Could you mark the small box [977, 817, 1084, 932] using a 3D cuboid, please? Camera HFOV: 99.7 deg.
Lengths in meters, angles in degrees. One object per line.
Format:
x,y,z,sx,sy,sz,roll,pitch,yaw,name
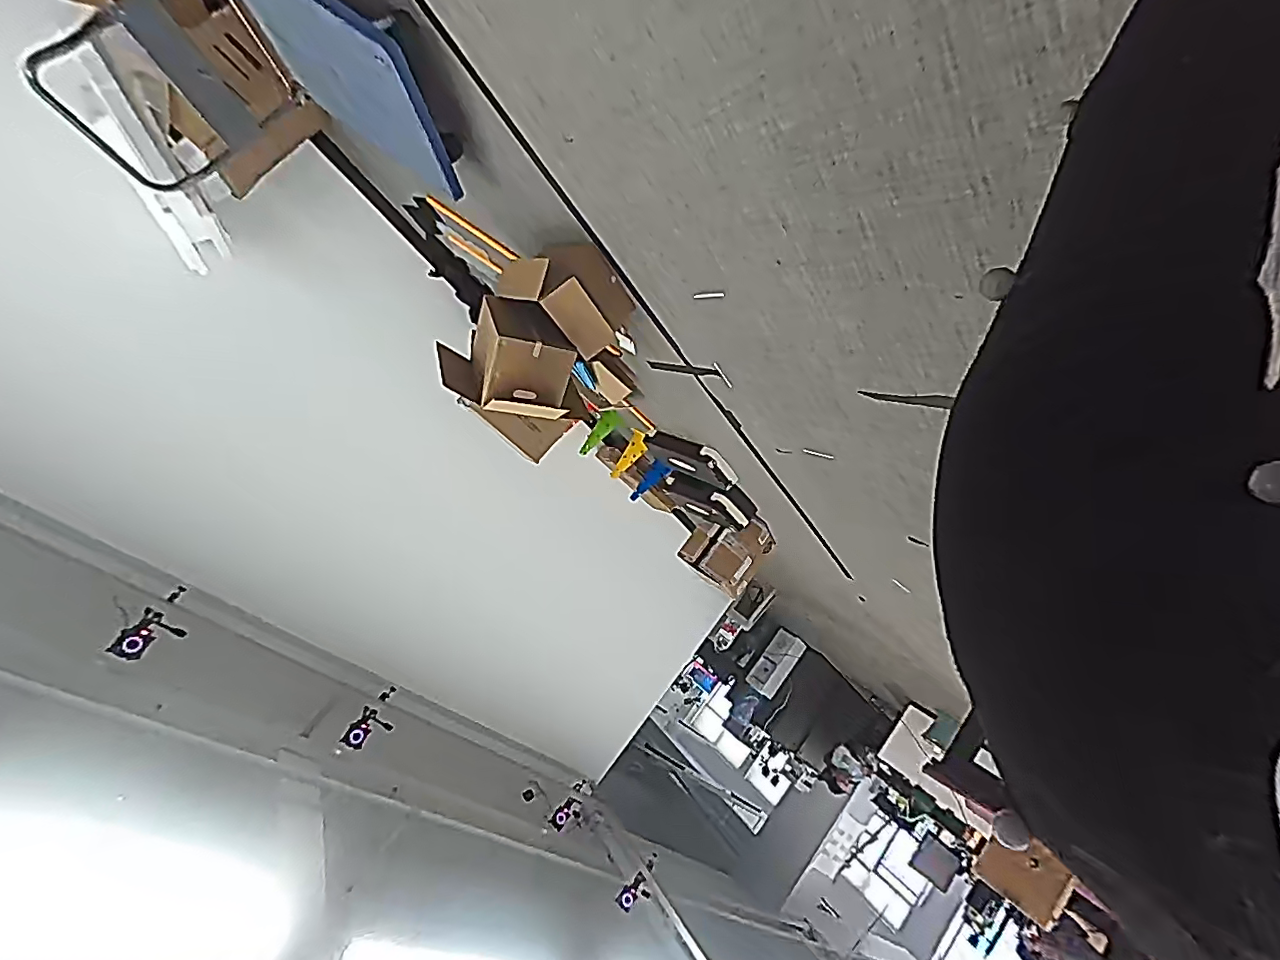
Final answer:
1.007,1.011,1.390,0.179,0.176,0.168,45,168,-37,small box
